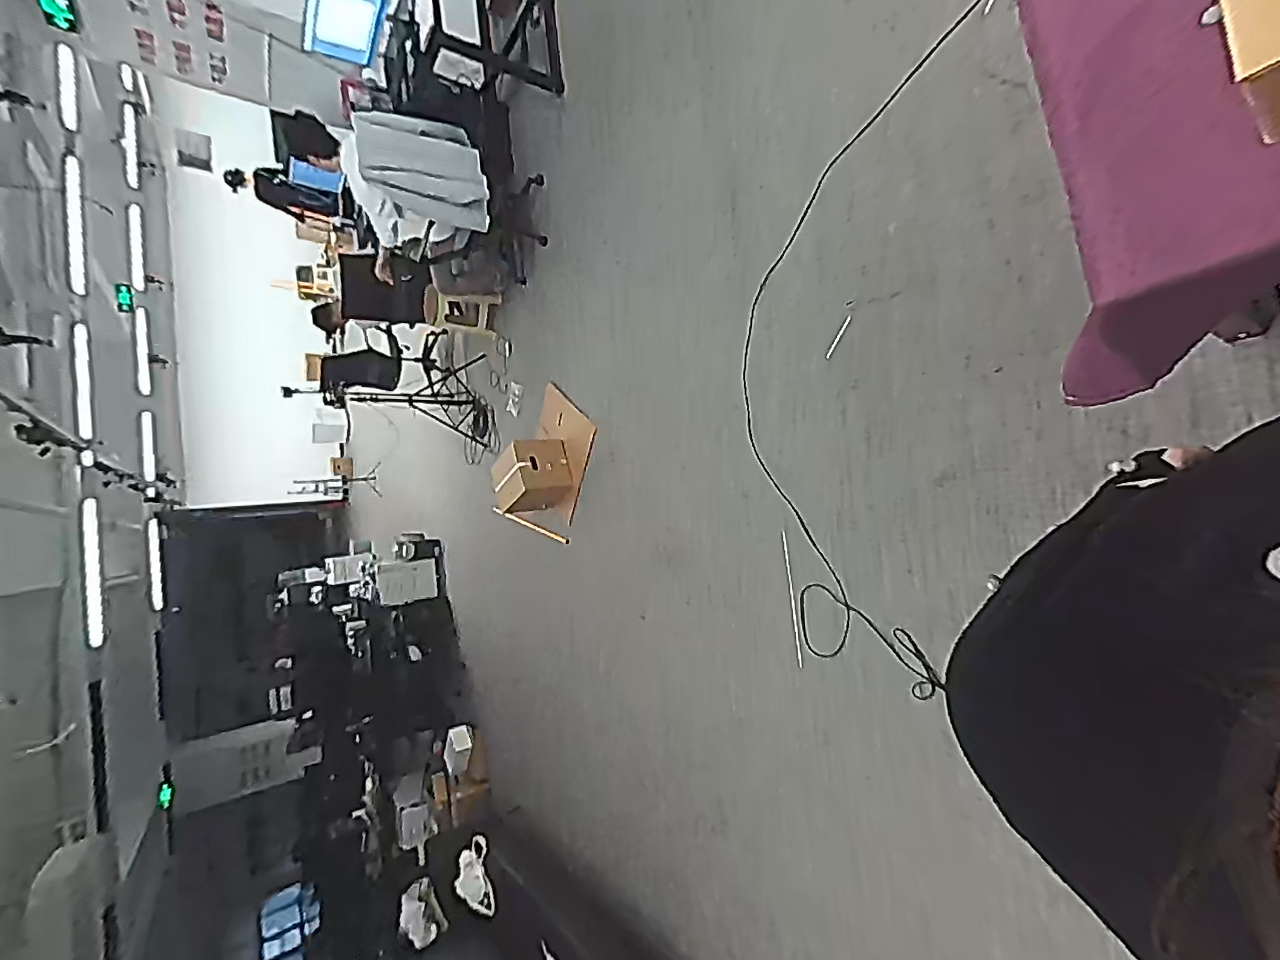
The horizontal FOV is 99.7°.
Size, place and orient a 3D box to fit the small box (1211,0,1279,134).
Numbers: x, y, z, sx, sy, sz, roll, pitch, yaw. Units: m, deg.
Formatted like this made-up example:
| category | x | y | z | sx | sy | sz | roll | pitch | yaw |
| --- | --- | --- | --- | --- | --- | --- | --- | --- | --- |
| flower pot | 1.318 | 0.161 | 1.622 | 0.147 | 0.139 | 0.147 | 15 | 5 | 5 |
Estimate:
| category | x | y | z | sx | sy | sz | roll | pitch | yaw |
| --- | --- | --- | --- | --- | --- | --- | --- | --- | --- |
| small box | 0.595 | -0.423 | 0.431 | 0.179 | 0.176 | 0.168 | -12 | 83 | 54 |
